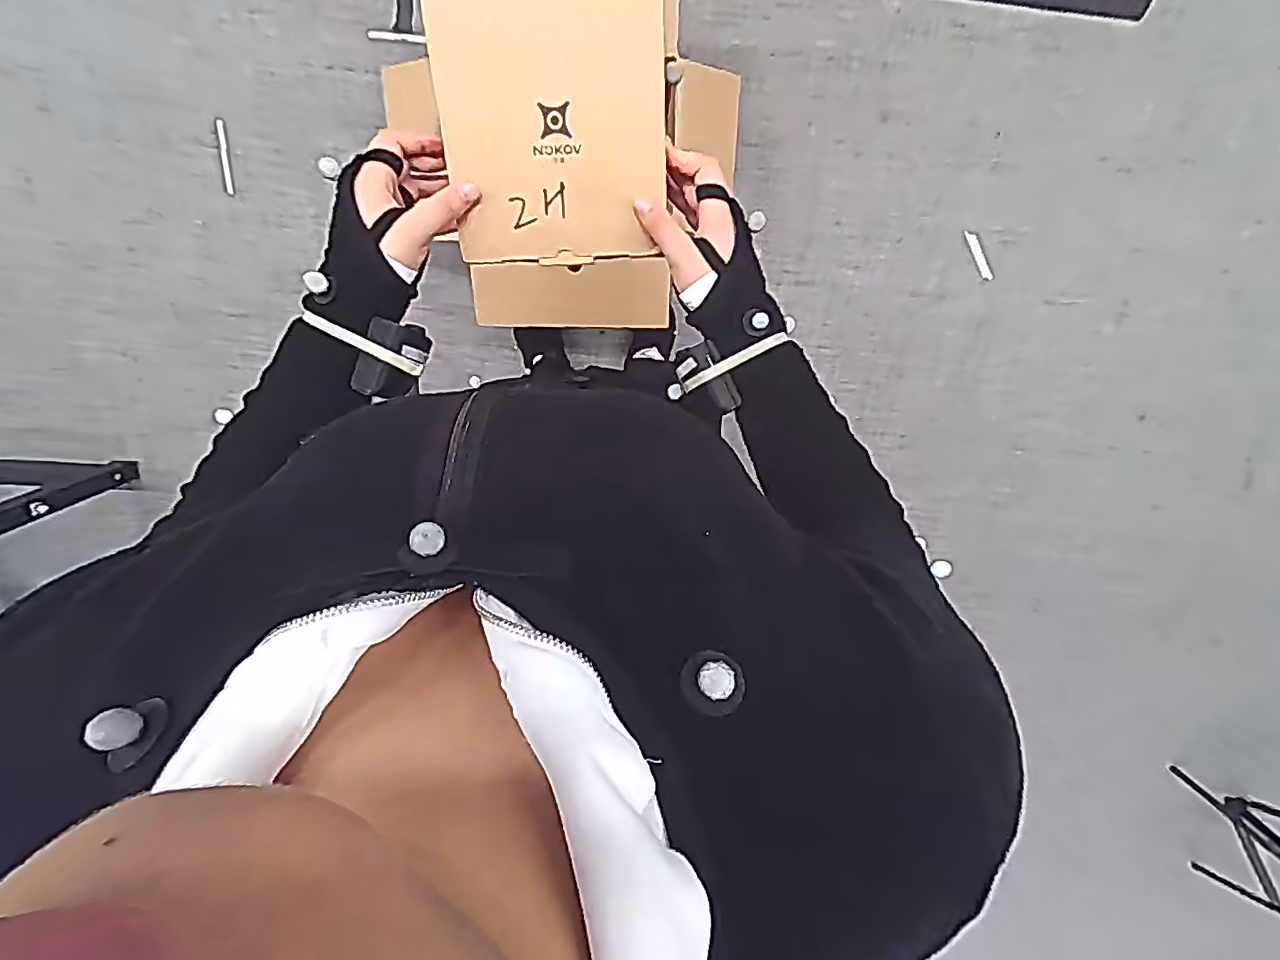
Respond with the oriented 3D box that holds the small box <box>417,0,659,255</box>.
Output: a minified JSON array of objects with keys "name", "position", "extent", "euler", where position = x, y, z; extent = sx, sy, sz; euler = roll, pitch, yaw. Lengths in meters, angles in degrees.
[{"name":"small box","position":[-0.072,-0.293,0.468],"extent":[0.168,0.176,0.179],"euler":[-3,115,-1]}]
